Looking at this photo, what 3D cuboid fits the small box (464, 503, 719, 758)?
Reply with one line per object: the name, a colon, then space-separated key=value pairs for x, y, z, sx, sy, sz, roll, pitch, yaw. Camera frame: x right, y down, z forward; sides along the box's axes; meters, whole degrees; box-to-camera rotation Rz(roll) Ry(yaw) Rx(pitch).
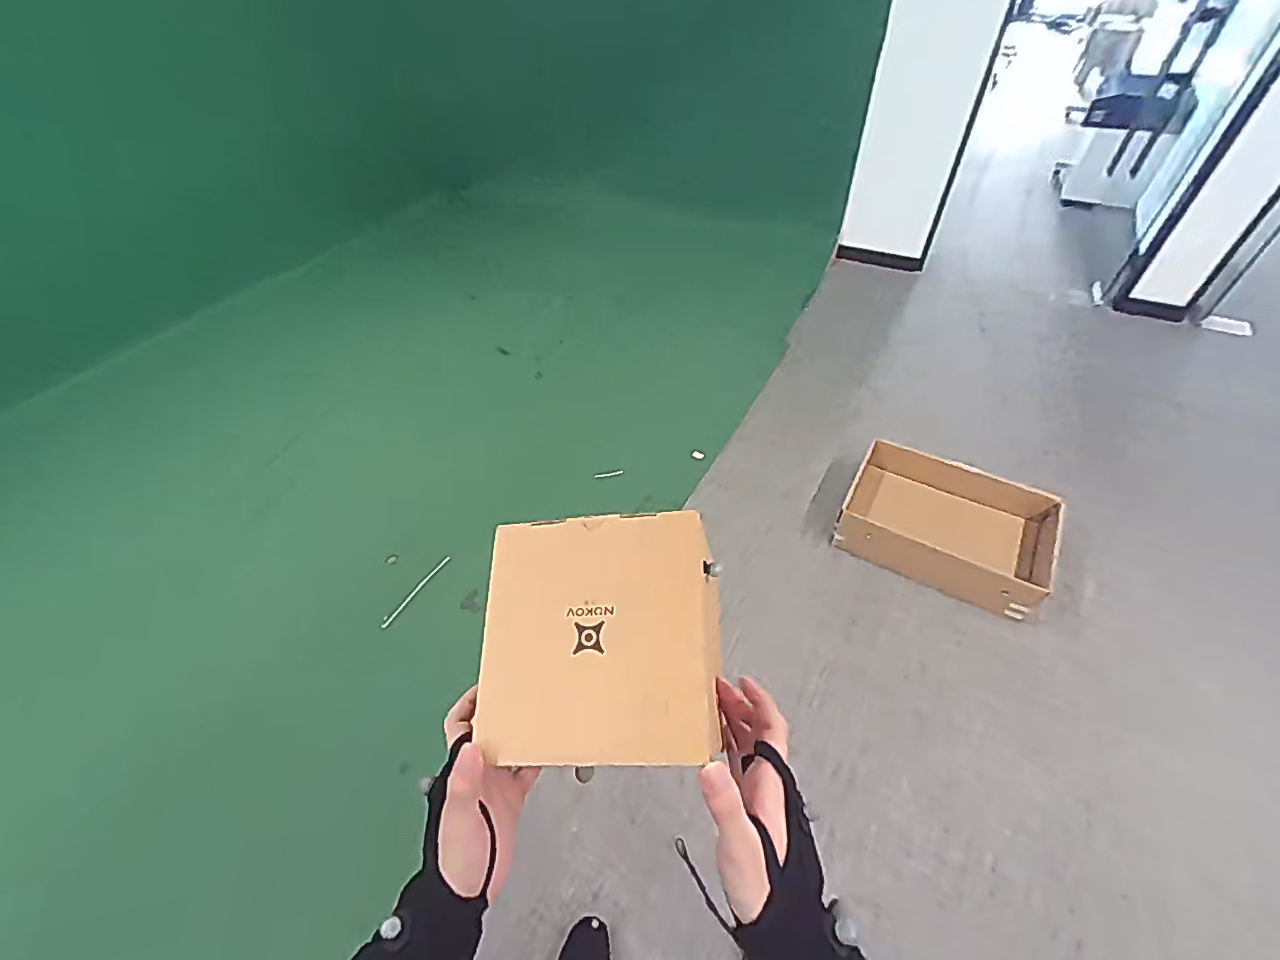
small box: x=-0.025 y=0.136 z=0.462 sx=0.168 sy=0.176 sz=0.179 roll=-6 pitch=63 yaw=11
